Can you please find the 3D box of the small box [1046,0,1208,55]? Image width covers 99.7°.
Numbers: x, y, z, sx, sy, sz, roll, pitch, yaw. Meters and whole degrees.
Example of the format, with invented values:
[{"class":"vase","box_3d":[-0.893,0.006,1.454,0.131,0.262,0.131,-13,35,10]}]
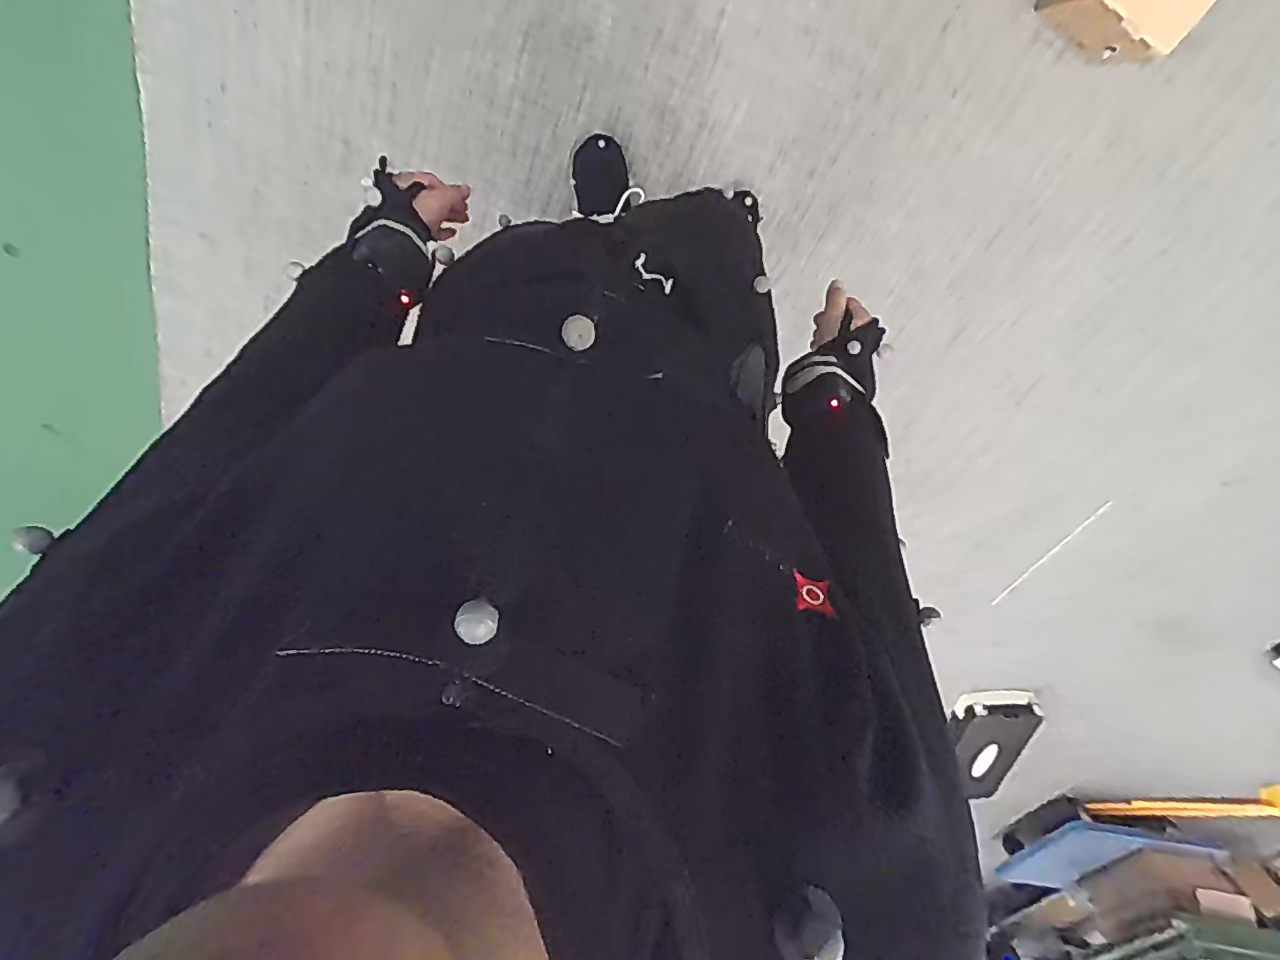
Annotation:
[{"class":"small box","box_3d":[0.800,-0.818,0.860,0.168,0.176,0.179,23,121,-18]}]
